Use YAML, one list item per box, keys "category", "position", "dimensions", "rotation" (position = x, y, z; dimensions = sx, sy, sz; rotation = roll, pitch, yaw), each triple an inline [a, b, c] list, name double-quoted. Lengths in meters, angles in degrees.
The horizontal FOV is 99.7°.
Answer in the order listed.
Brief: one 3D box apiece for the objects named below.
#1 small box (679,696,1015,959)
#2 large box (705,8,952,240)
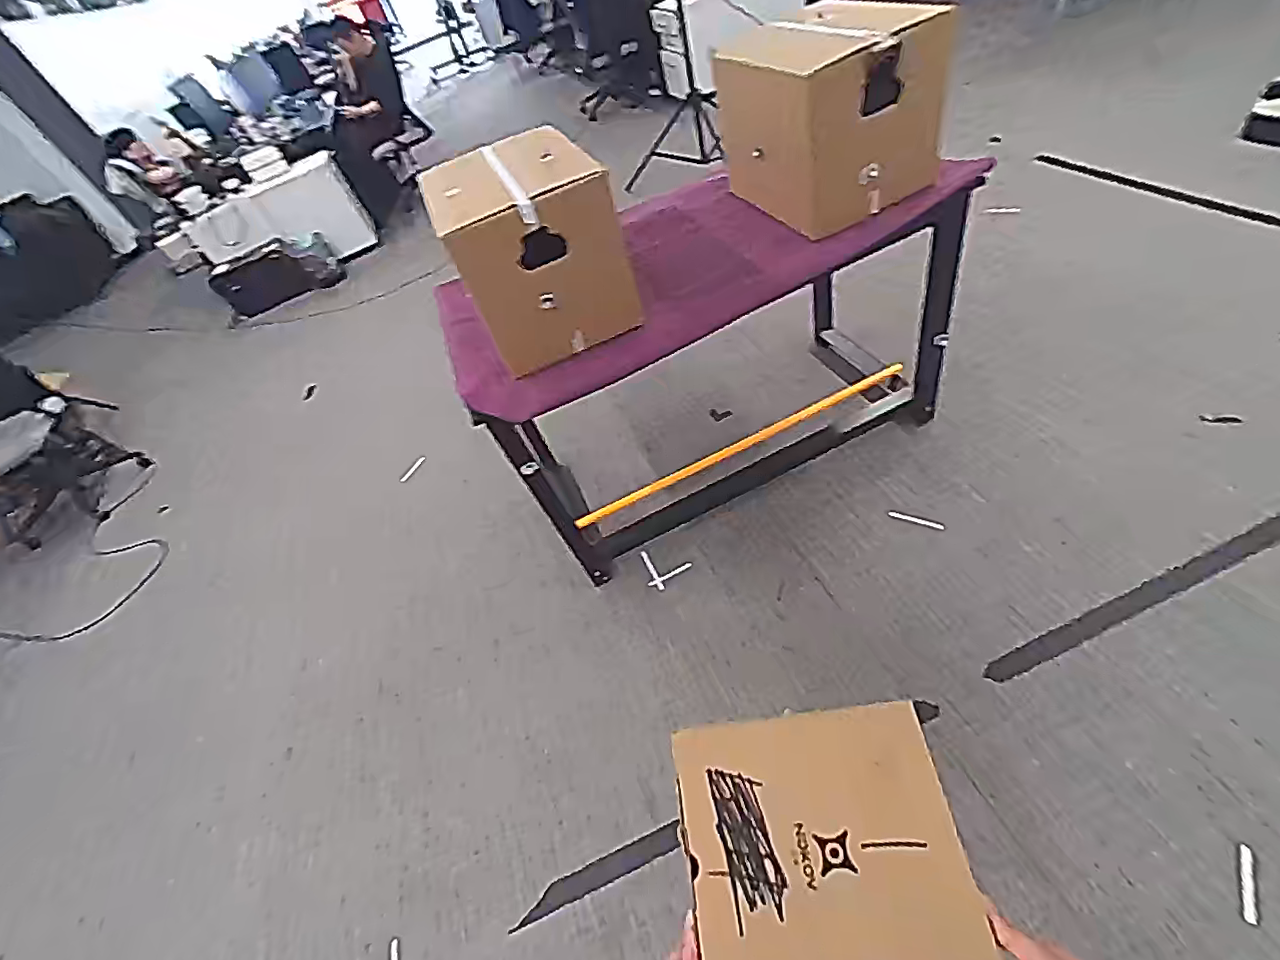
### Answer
- category: "small box"
  position: [0.131, 0.272, 0.406]
  dimensions: [0.179, 0.176, 0.168]
  rotation: [-8, 57, 4]
- category: "large box"
  position: [0.396, -0.792, 1.196]
  dimensions: [0.320, 0.320, 0.408]
  rotation: [-26, 46, -4]
